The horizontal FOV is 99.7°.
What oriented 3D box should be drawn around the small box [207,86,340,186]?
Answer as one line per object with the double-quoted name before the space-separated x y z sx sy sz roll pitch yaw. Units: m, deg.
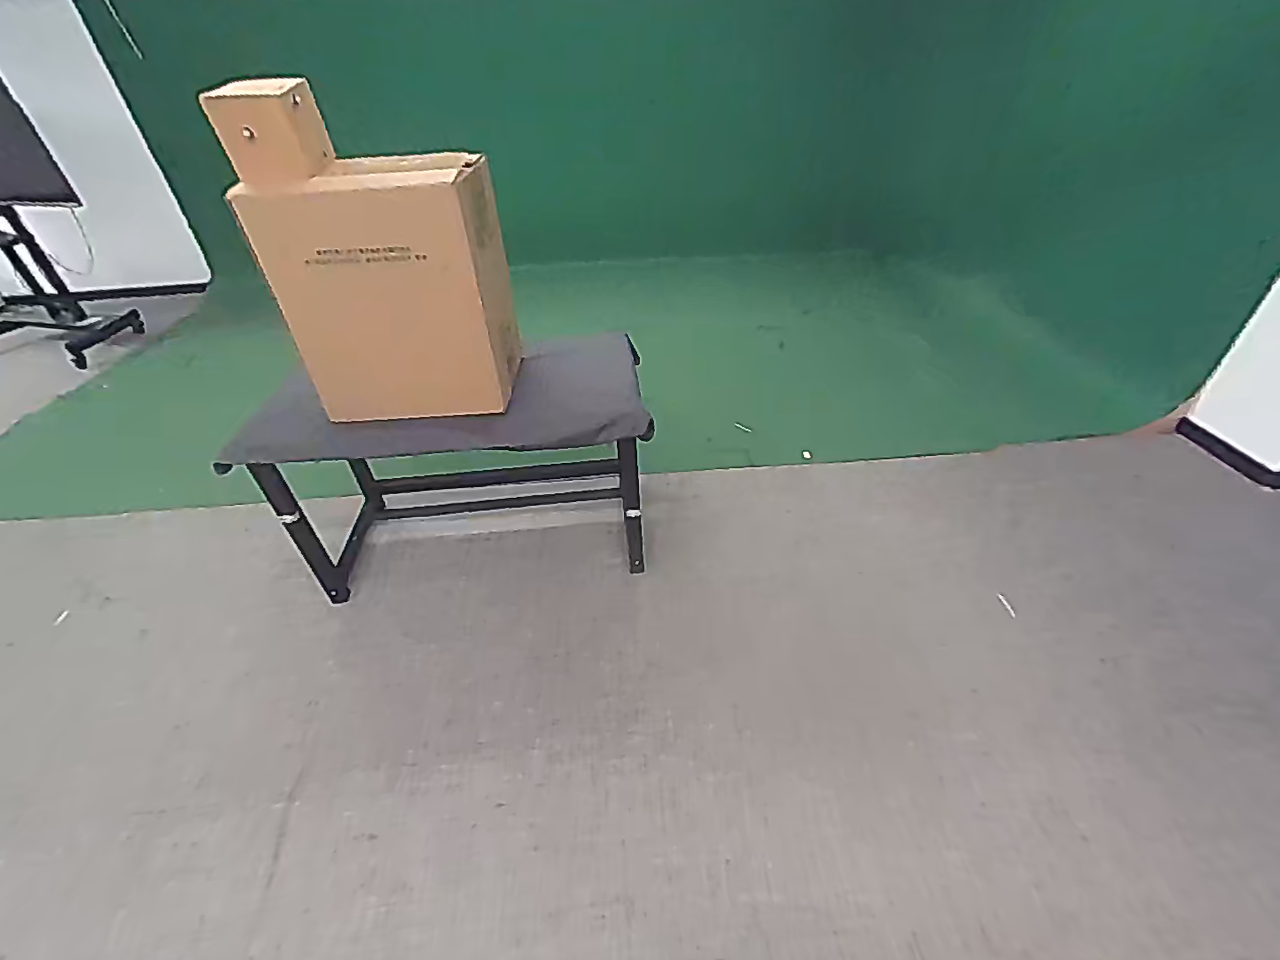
"small box" -0.866 -0.823 1.297 0.179 0.176 0.168 -3 47 0
